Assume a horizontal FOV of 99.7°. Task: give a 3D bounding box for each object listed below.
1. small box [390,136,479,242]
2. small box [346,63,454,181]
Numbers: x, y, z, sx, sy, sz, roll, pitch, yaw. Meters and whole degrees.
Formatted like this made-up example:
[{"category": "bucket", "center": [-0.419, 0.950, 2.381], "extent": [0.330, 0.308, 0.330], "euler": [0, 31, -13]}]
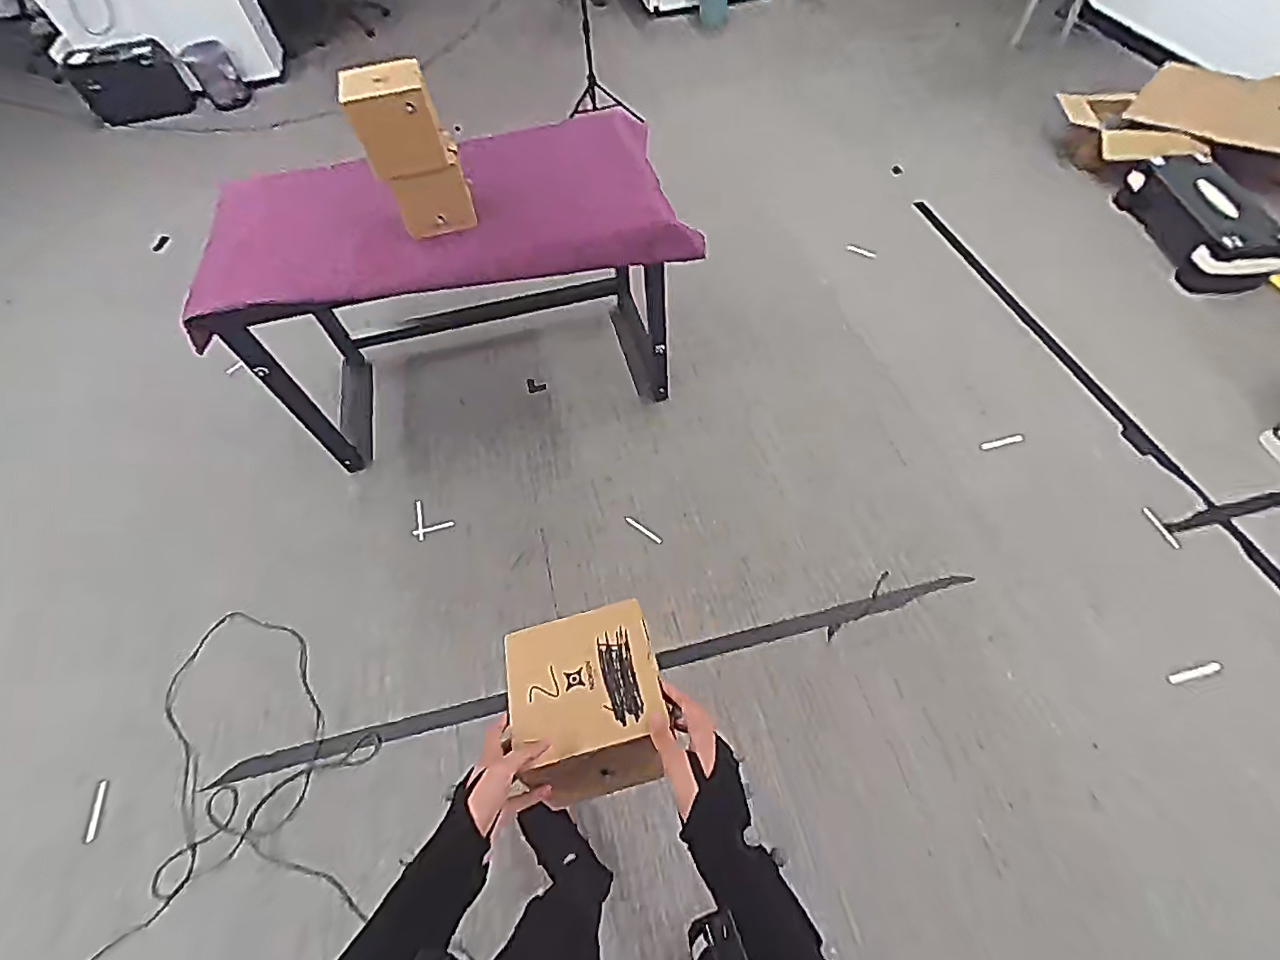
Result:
[{"category": "small box", "center": [-0.526, -0.747, 1.395], "extent": [0.179, 0.176, 0.168], "euler": [-16, 57, -7]}, {"category": "small box", "center": [-0.551, -0.822, 1.250], "extent": [0.179, 0.176, 0.168], "euler": [-16, 58, -6]}]
